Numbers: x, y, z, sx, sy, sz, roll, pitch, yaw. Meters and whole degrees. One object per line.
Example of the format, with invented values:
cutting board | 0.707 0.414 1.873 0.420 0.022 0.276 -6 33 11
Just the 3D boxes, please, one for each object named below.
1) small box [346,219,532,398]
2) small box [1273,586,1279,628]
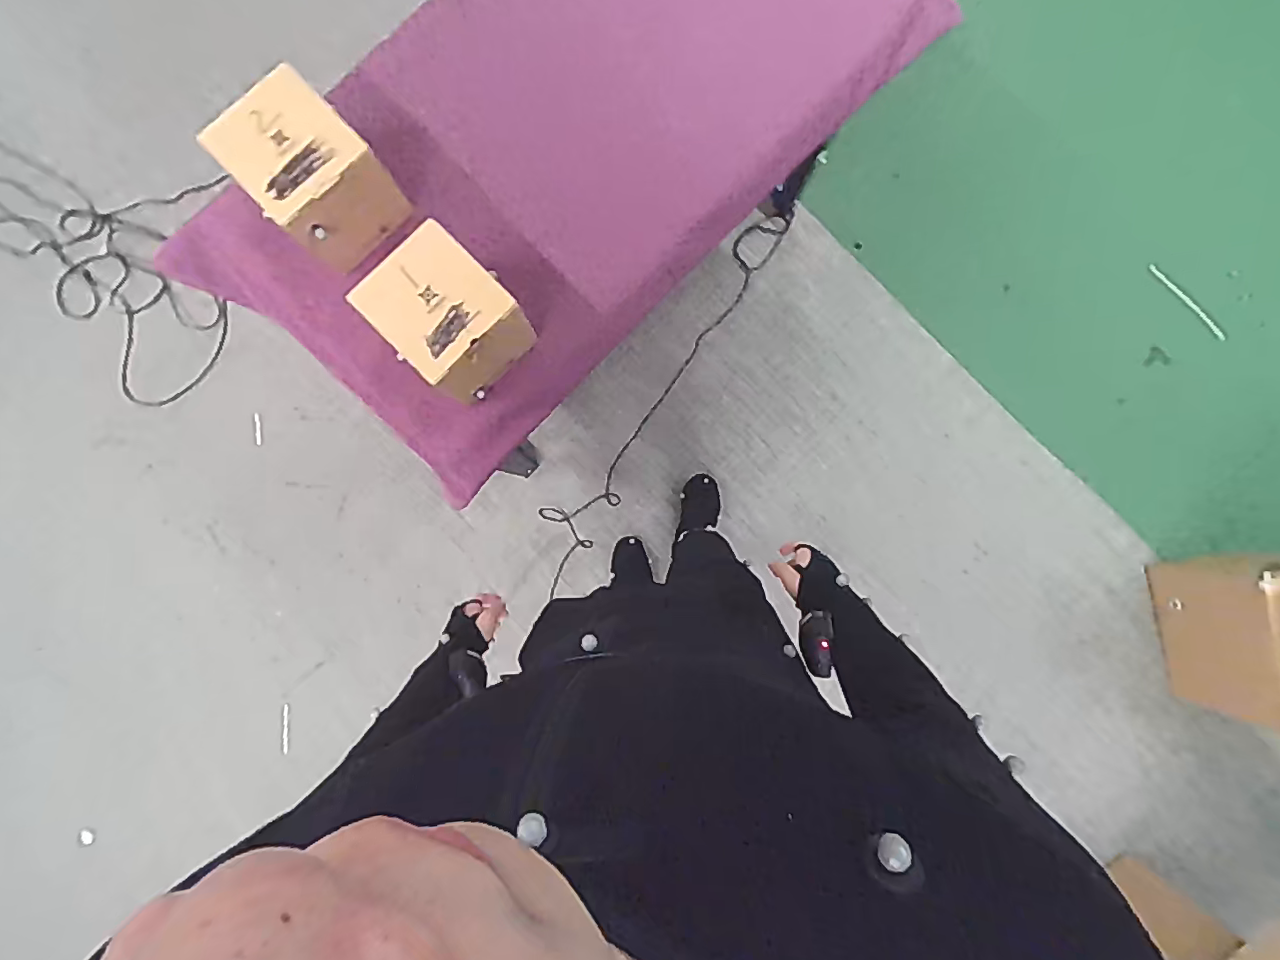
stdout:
small box | -0.287 -0.242 0.819 0.179 0.176 0.168 45 87 2
small box | 1.665 0.325 1.259 0.179 0.176 0.168 -10 88 -1
